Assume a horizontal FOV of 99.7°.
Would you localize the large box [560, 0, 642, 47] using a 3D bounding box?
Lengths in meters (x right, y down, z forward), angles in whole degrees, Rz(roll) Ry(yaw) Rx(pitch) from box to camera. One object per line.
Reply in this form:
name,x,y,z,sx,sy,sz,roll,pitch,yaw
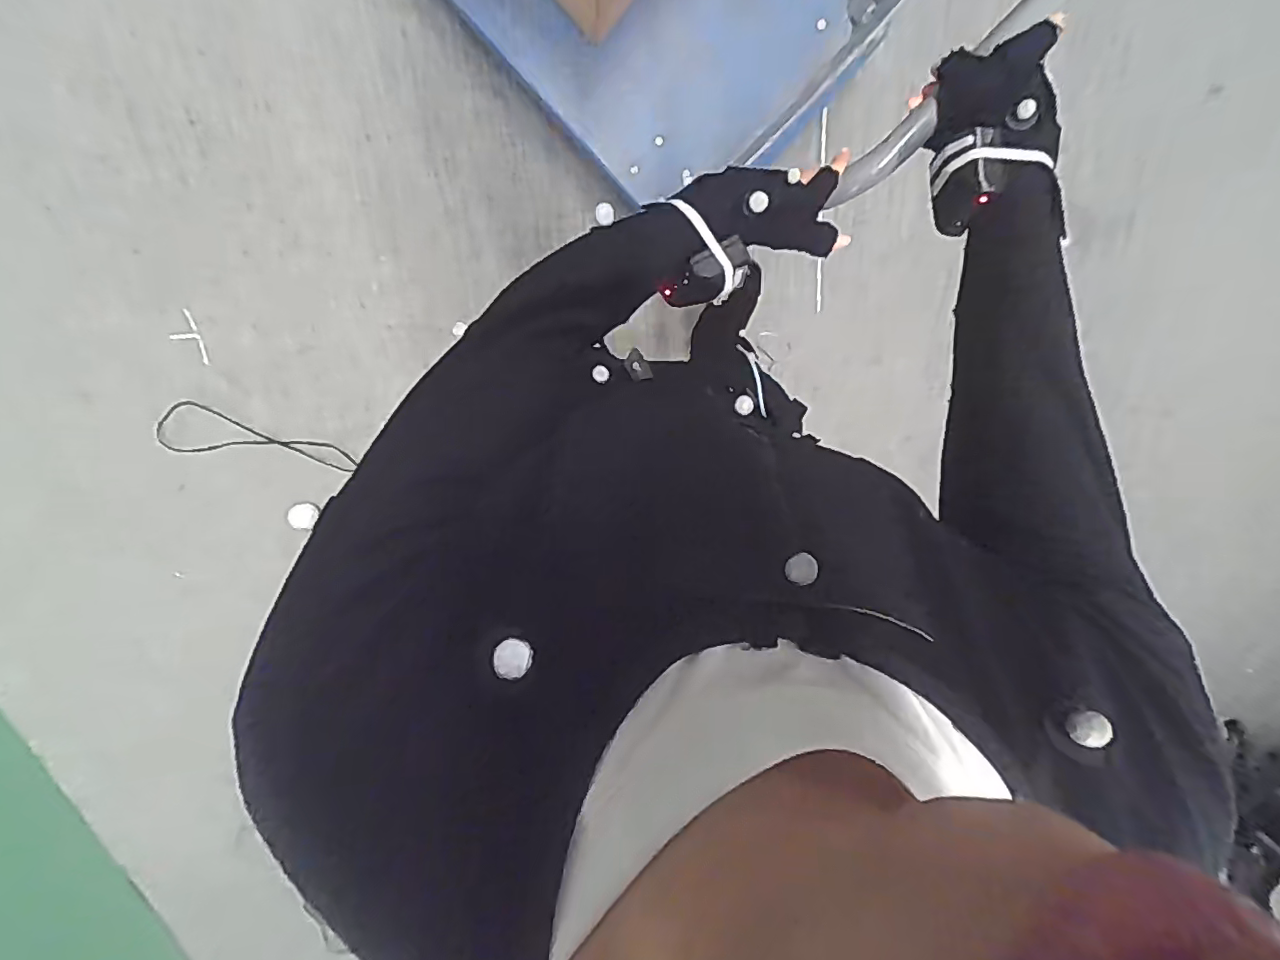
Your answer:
large box,-0.033,-0.968,0.775,0.320,0.320,0.408,38,105,-18
